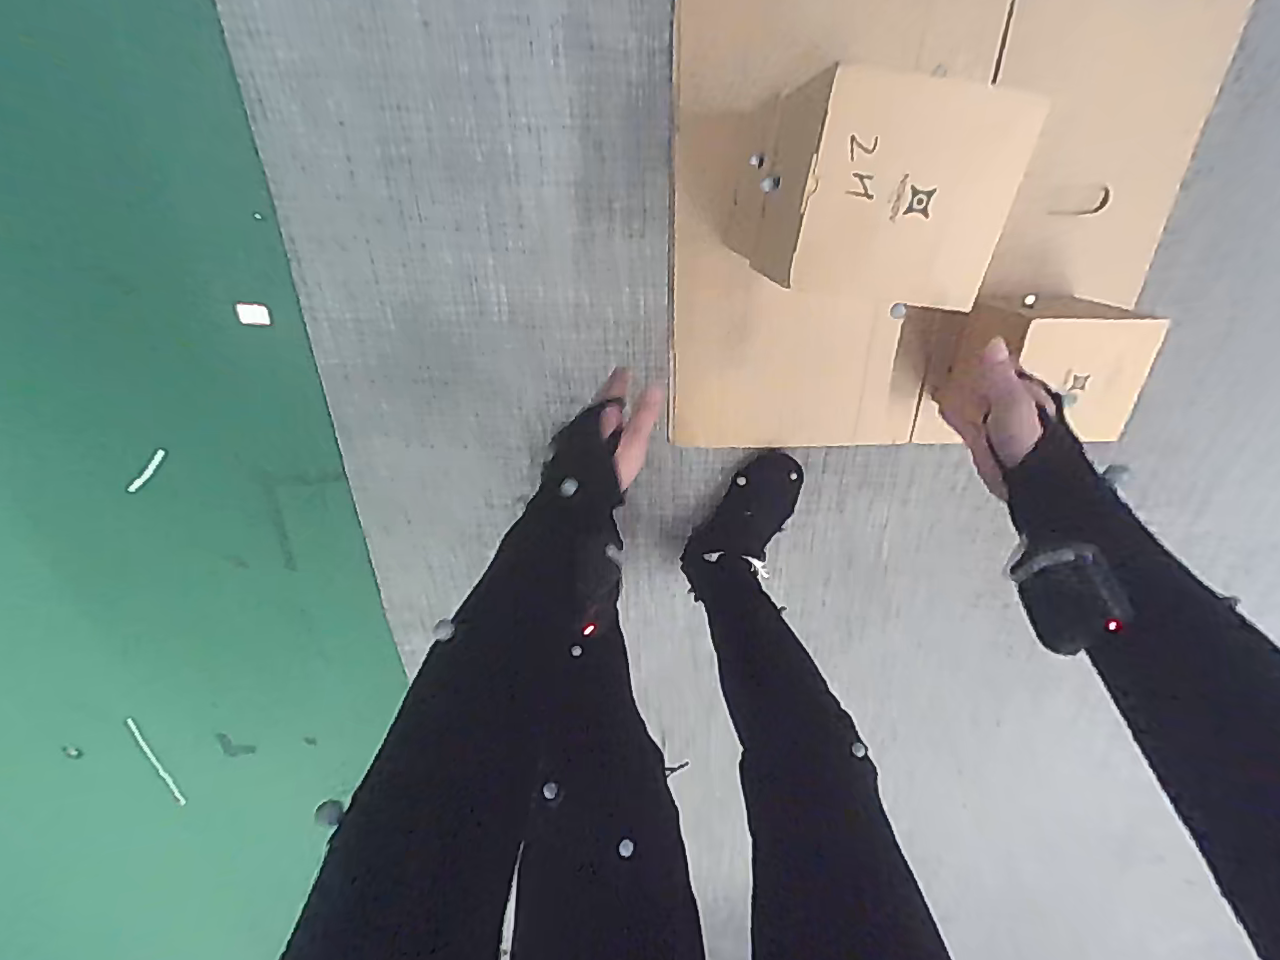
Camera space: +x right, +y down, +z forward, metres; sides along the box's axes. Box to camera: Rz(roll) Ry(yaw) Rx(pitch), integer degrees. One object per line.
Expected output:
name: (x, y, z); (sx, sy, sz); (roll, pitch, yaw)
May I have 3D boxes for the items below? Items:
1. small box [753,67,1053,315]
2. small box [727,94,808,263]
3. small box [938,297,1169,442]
small box: (0.224, -0.267, 0.519); (0.179, 0.176, 0.168); (6, 117, -4)
small box: (0.220, -0.350, 0.664); (0.179, 0.176, 0.168); (6, 117, -4)
small box: (0.562, -0.162, 0.769); (0.179, 0.176, 0.168); (0, 118, 0)
